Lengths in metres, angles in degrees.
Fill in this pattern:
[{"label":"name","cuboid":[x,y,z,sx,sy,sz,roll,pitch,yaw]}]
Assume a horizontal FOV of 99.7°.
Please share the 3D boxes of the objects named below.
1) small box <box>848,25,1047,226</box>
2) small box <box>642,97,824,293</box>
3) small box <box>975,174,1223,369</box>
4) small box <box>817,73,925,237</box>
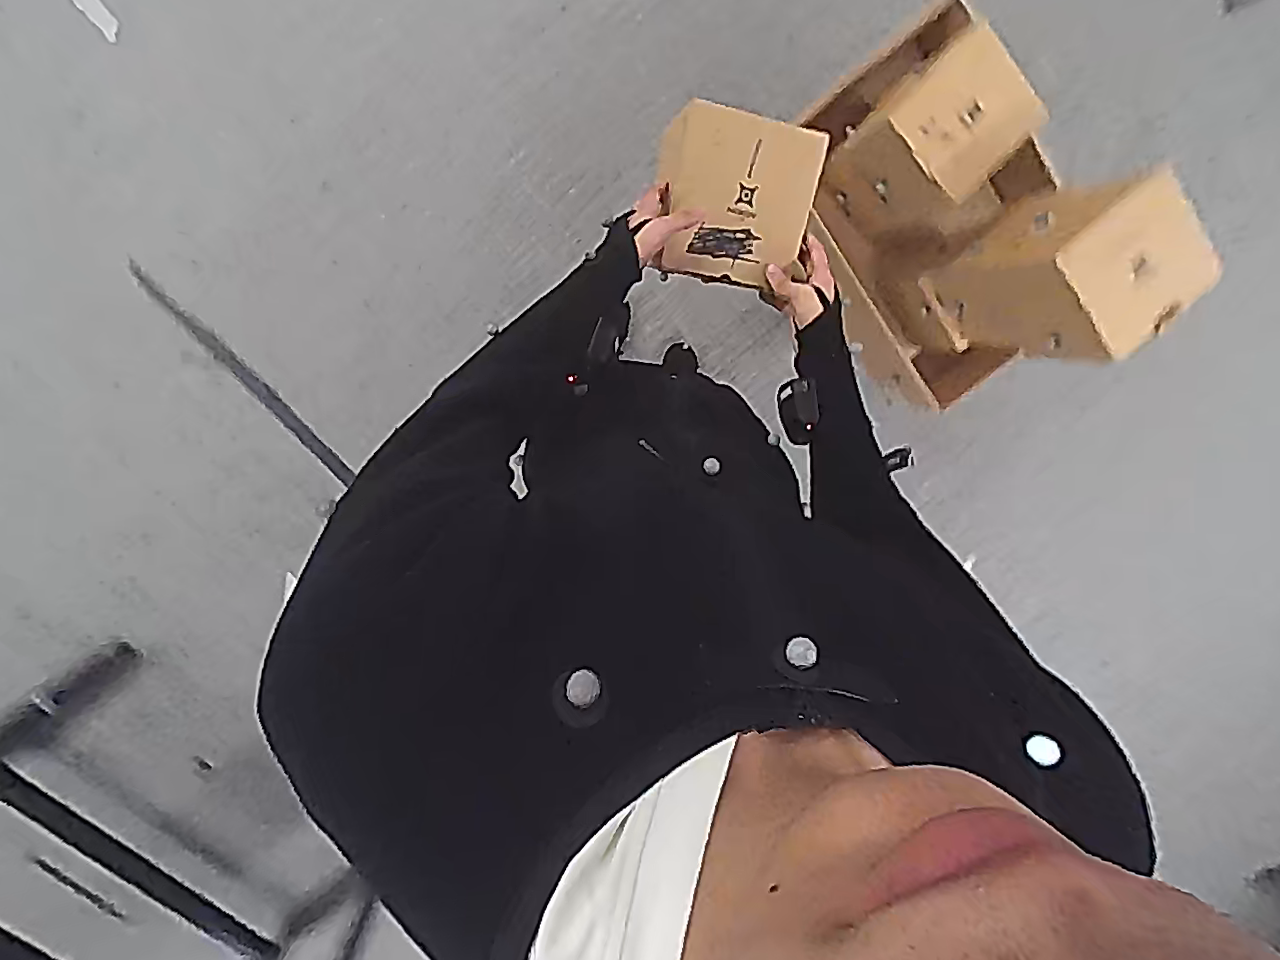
[{"label":"small box","cuboid":[0.468,-0.537,0.851,0.168,0.176,0.179,43,99,-13]},{"label":"small box","cuboid":[0.103,-0.348,0.693,0.168,0.176,0.179,7,110,-11]},{"label":"small box","cuboid":[0.626,-0.281,0.759,0.168,0.176,0.179,-40,104,7]},{"label":"small box","cuboid":[0.465,-0.589,1.007,0.168,0.176,0.179,43,99,-12]}]
